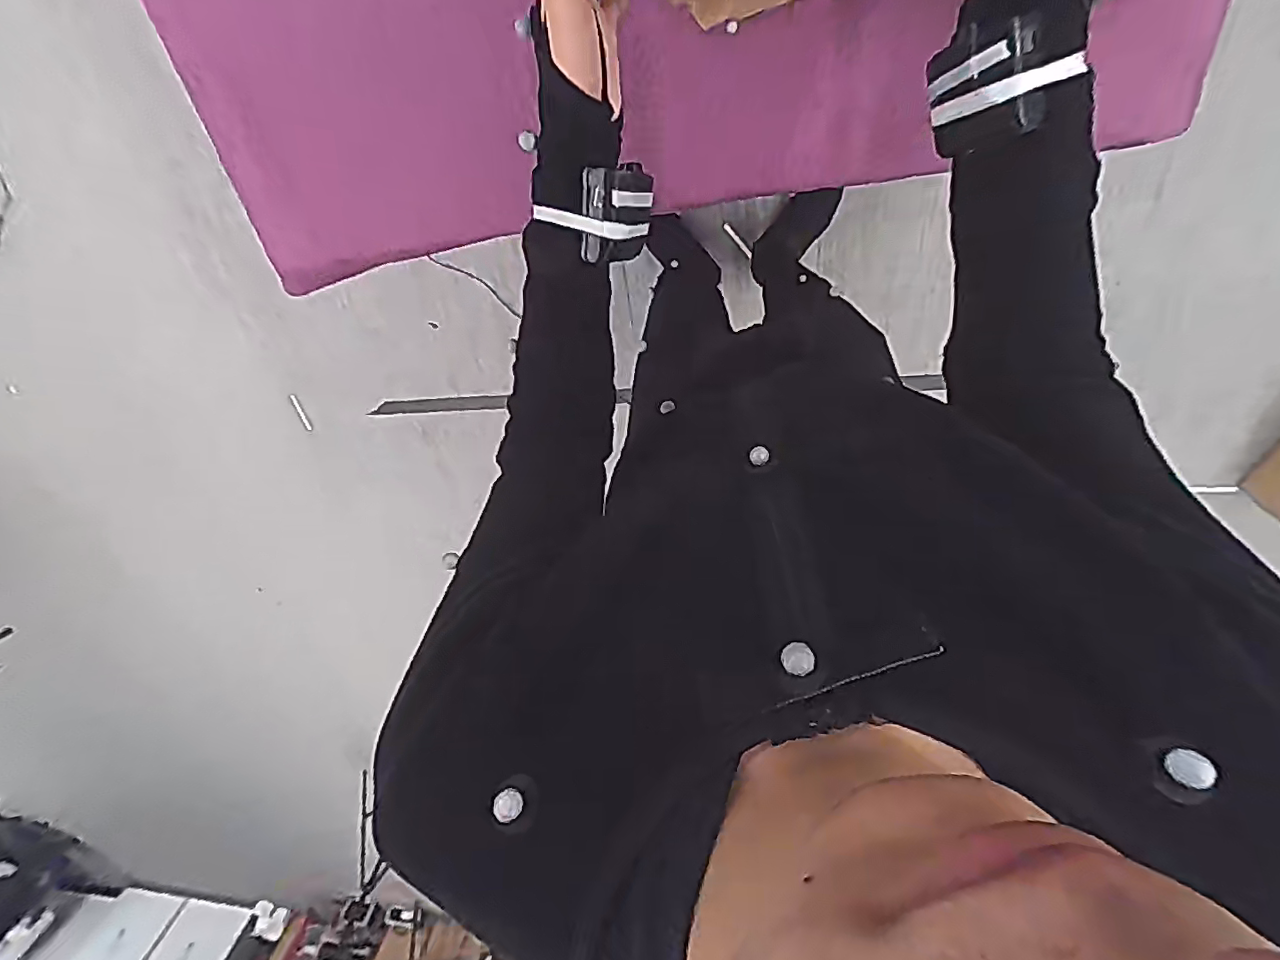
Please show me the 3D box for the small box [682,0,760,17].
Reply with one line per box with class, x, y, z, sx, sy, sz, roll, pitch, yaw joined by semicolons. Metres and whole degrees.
small box;0.106;-0.548;0.479;0.168;0.176;0.179;-8;121;17
